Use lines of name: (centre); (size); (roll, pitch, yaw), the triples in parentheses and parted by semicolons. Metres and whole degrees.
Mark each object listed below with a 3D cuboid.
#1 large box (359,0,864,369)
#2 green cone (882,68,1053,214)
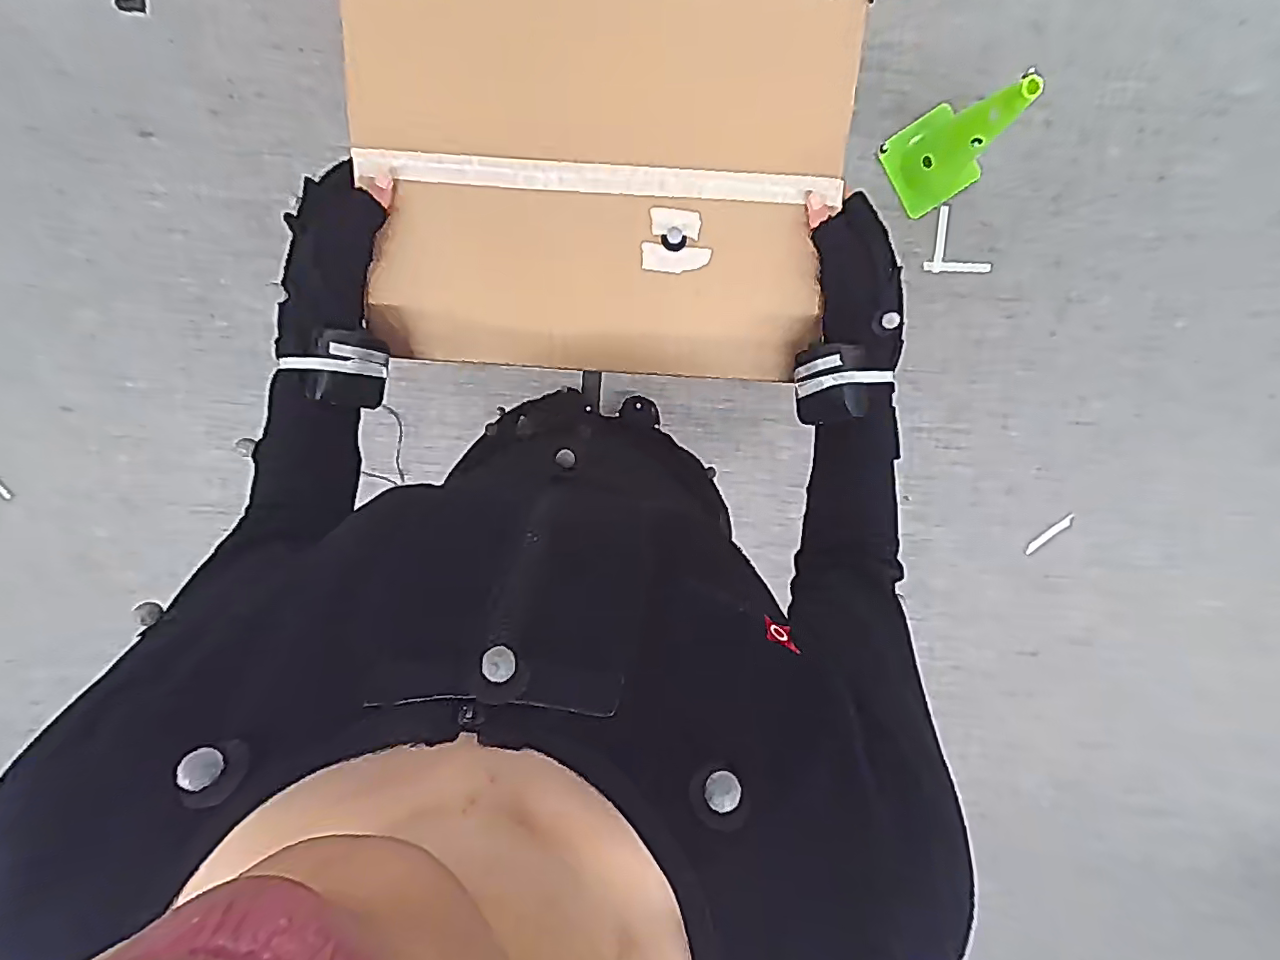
large box: (-0.031, -0.296, 0.599); (0.408, 0.320, 0.320); (3, 106, -1)
green cone: (0.724, -0.757, 1.159); (0.202, 0.368, 0.200); (-33, 100, 4)
